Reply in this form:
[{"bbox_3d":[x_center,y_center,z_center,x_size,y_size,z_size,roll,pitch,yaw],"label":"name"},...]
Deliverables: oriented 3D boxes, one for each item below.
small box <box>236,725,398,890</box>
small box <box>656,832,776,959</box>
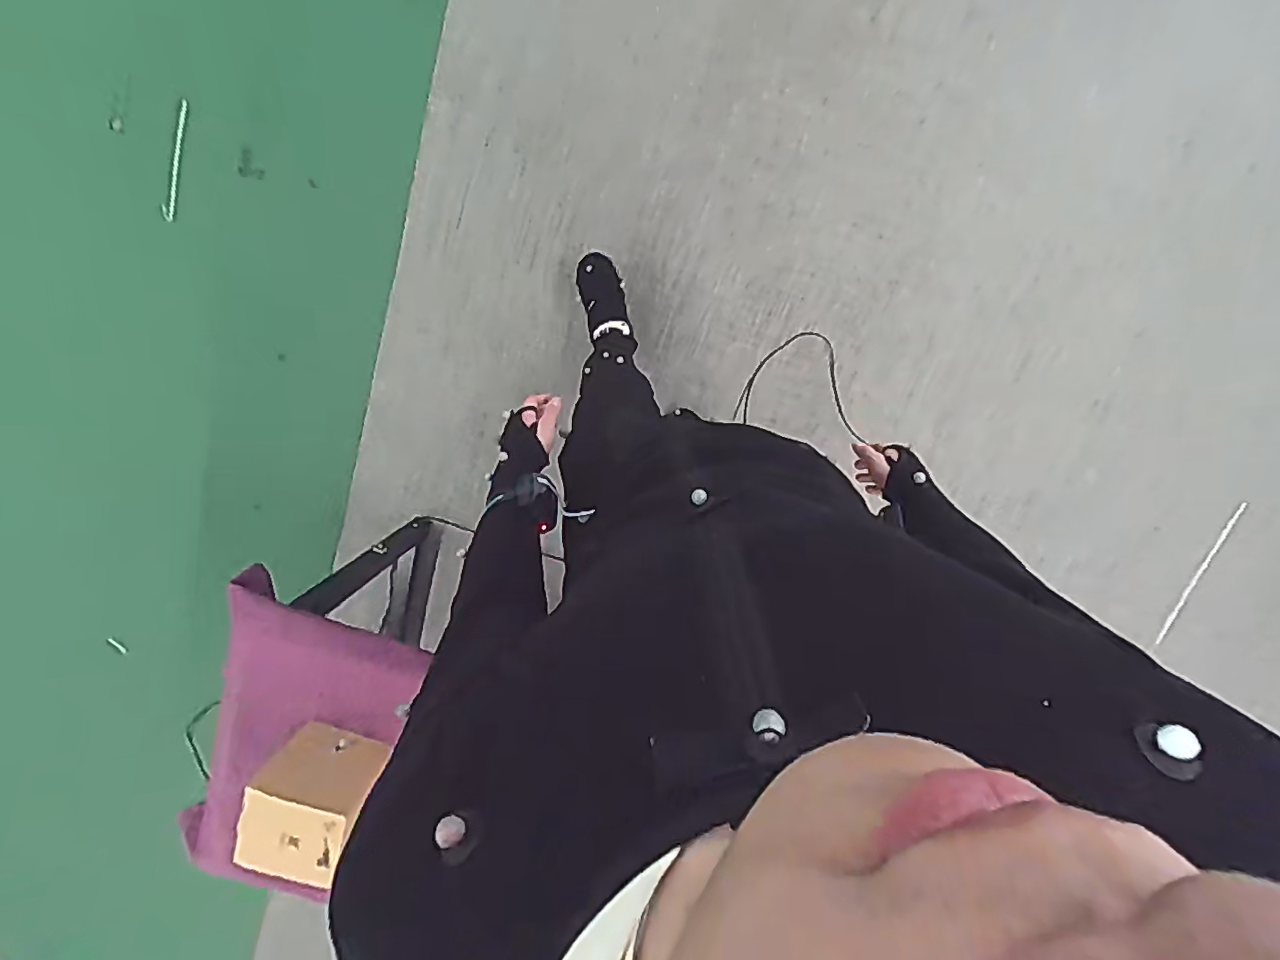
[{"bbox_3d":[-0.575,0.578,0.976,0.179,0.176,0.168,18,104,-1],"label":"small box"},{"bbox_3d":[0.131,0.793,0.981,0.168,0.176,0.179,16,104,0],"label":"small box"}]
